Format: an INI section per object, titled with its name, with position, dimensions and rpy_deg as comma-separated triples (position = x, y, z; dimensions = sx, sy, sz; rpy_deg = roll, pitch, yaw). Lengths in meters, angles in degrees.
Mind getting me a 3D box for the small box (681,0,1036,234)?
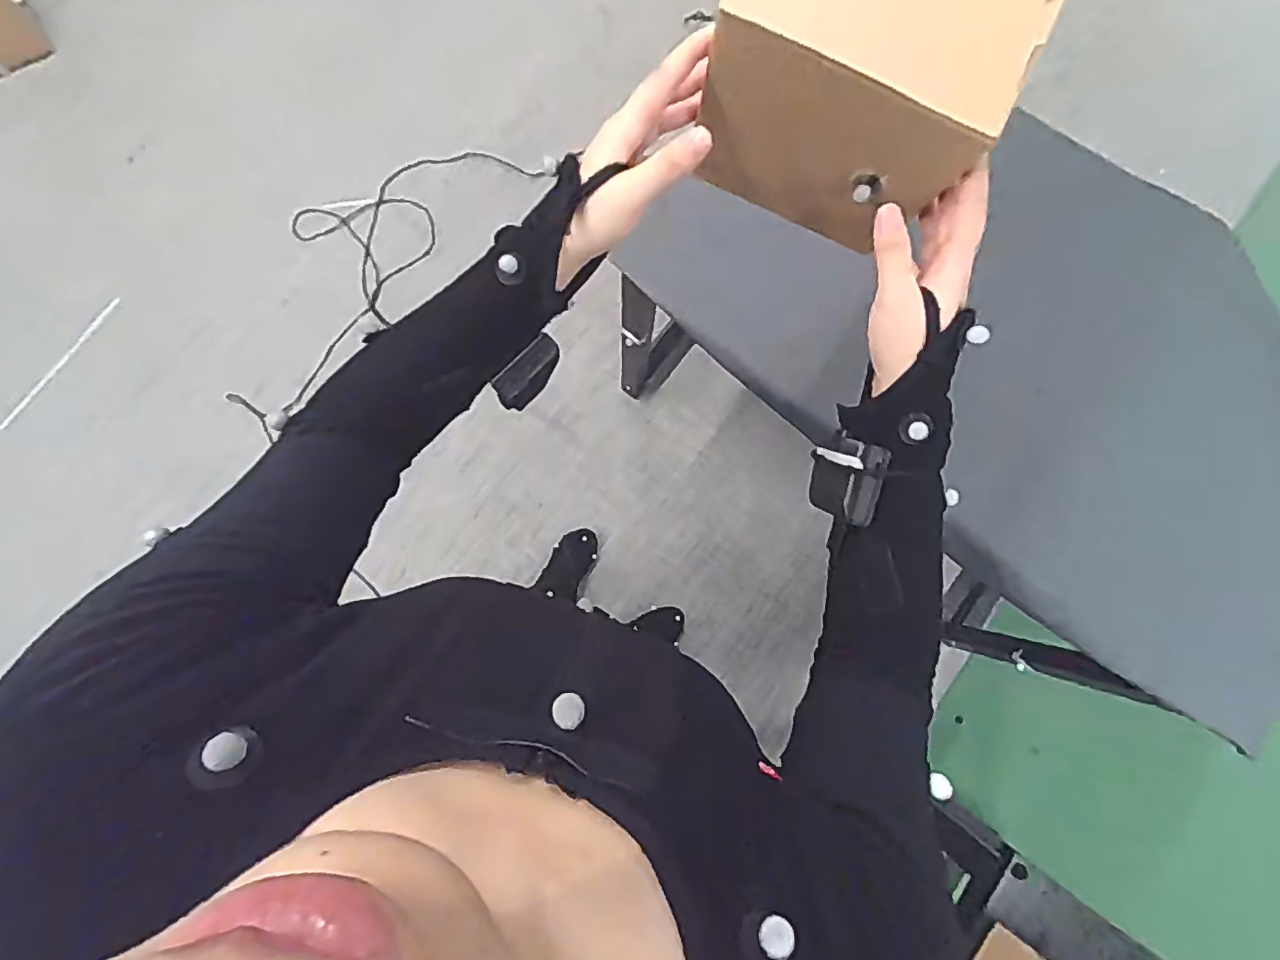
[small box]
position = 0.142, -0.304, 0.381
dimensions = 0.179, 0.176, 0.168
rpy_deg = 23, 90, 0
